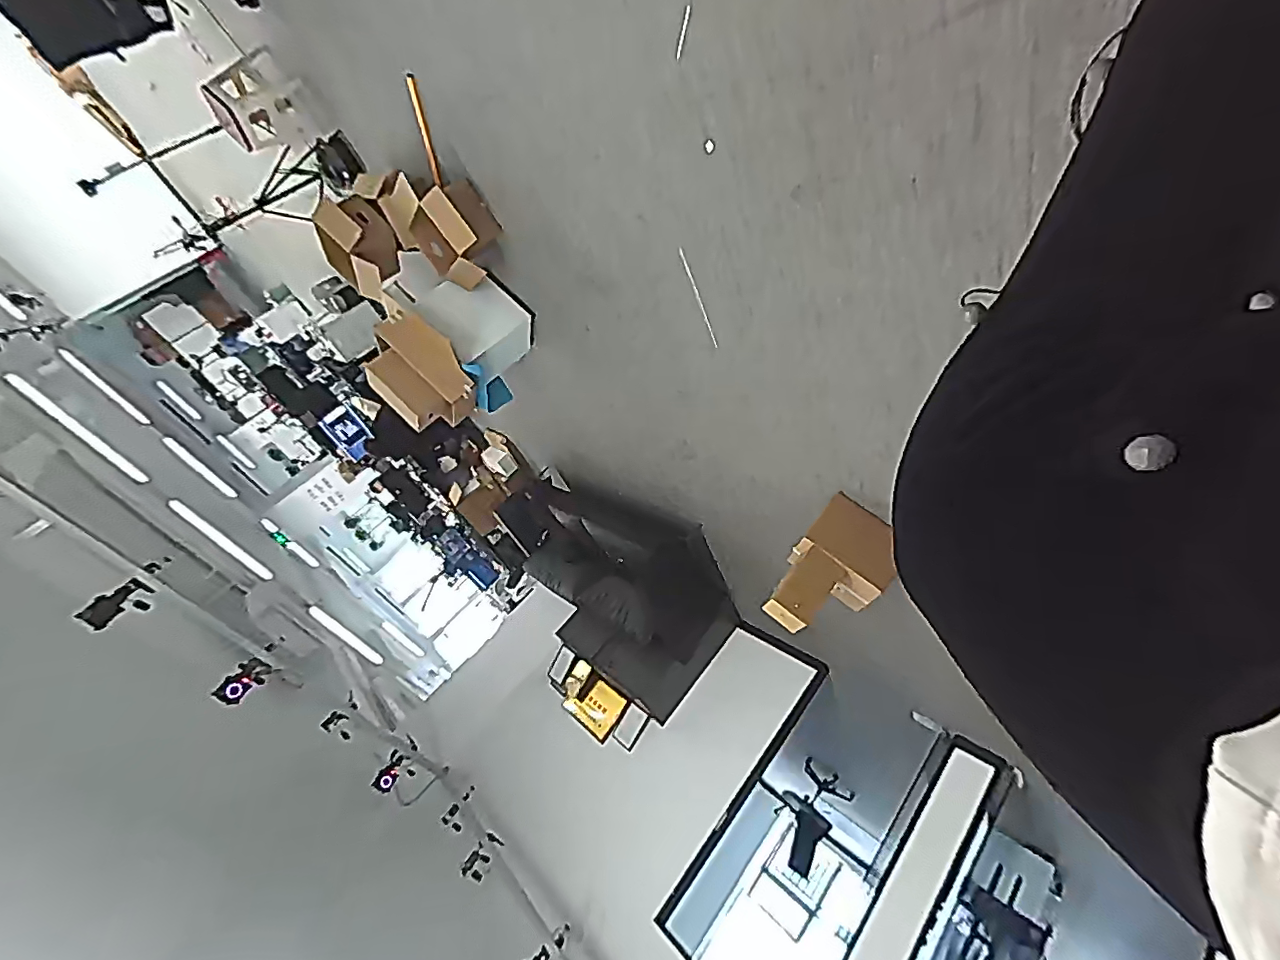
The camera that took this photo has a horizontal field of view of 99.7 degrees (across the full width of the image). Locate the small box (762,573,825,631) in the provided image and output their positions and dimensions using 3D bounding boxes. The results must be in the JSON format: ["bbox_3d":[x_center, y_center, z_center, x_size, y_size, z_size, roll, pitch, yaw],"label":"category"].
[{"bbox_3d":[0.675,0.530,2.380,0.179,0.176,0.168,37,156,13],"label":"small box"}]

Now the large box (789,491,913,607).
[{"bbox_3d":[0.989,0.325,2.566,0.408,0.320,0.320,36,158,17],"label":"large box"}]
